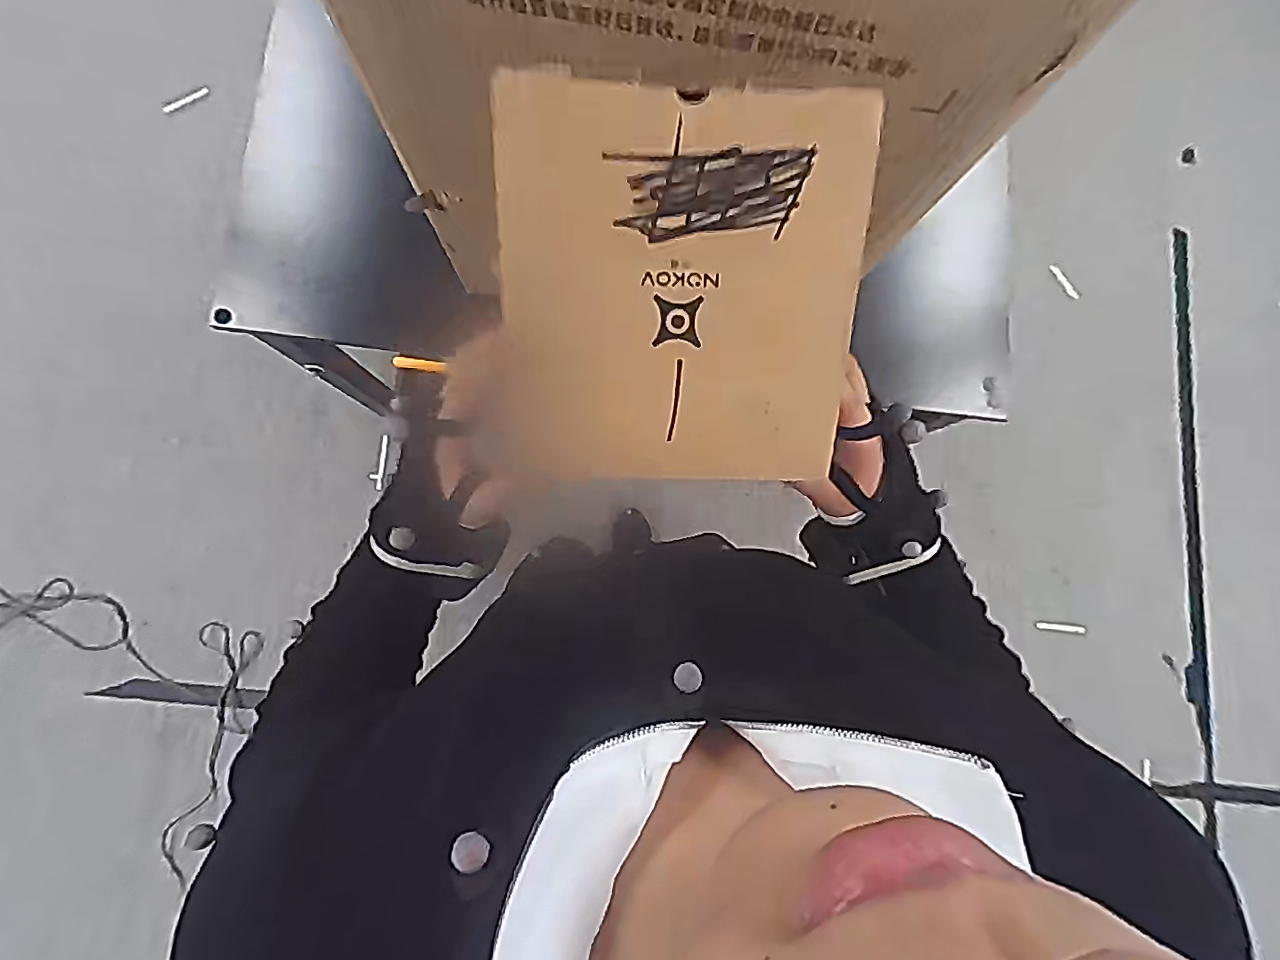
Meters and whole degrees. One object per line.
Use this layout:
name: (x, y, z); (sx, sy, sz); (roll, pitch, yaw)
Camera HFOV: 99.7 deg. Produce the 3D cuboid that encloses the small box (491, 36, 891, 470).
small box: (0.014, -0.113, 0.315); (0.168, 0.176, 0.179); (0, 110, -3)
